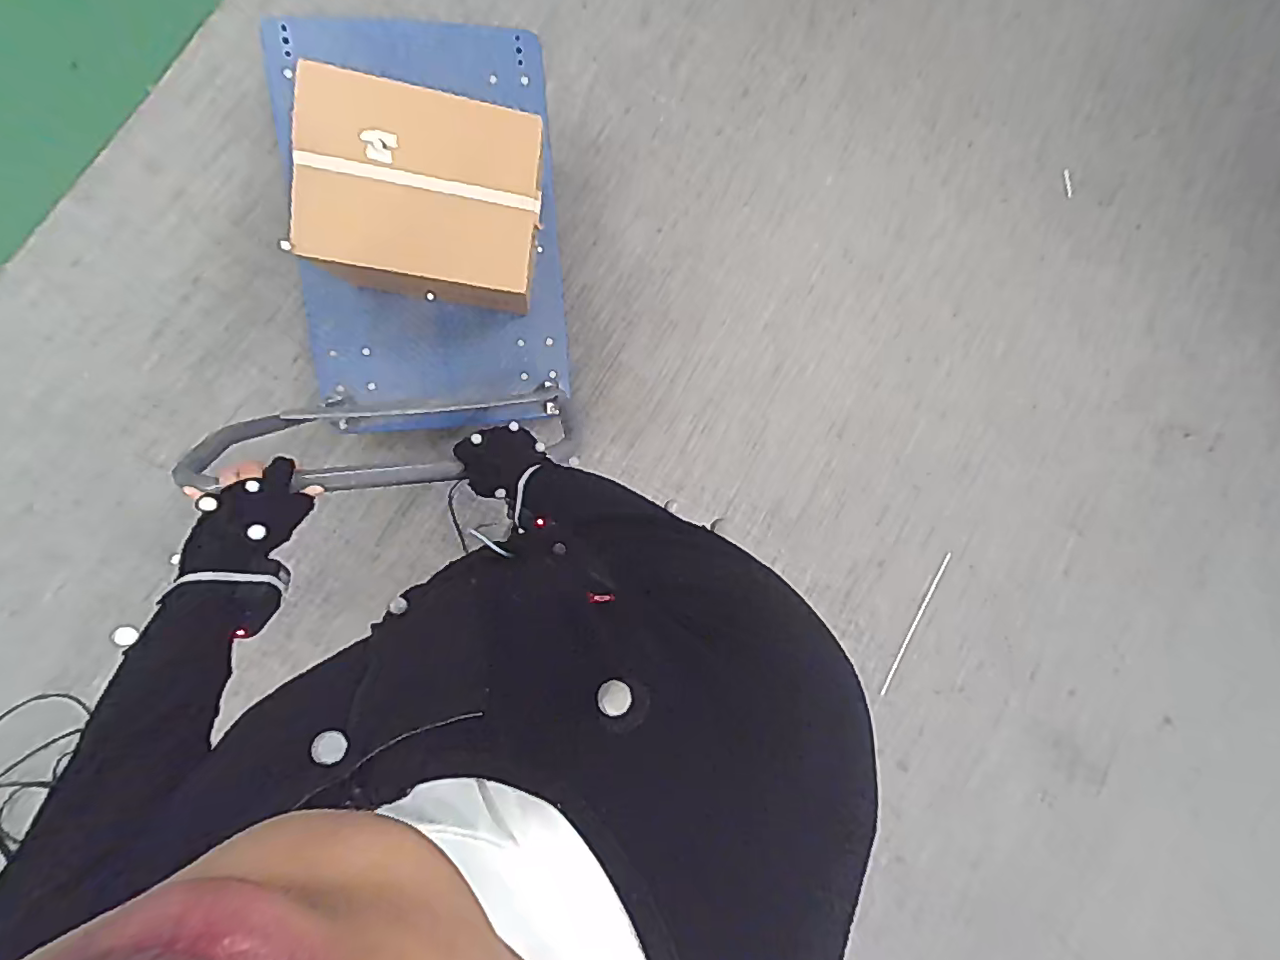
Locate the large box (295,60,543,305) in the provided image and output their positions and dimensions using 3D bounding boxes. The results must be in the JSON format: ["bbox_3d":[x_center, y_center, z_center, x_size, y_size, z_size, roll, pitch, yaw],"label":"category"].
[{"bbox_3d":[-0.410,-0.555,1.097,0.408,0.320,0.320,7,99,-11],"label":"large box"}]
